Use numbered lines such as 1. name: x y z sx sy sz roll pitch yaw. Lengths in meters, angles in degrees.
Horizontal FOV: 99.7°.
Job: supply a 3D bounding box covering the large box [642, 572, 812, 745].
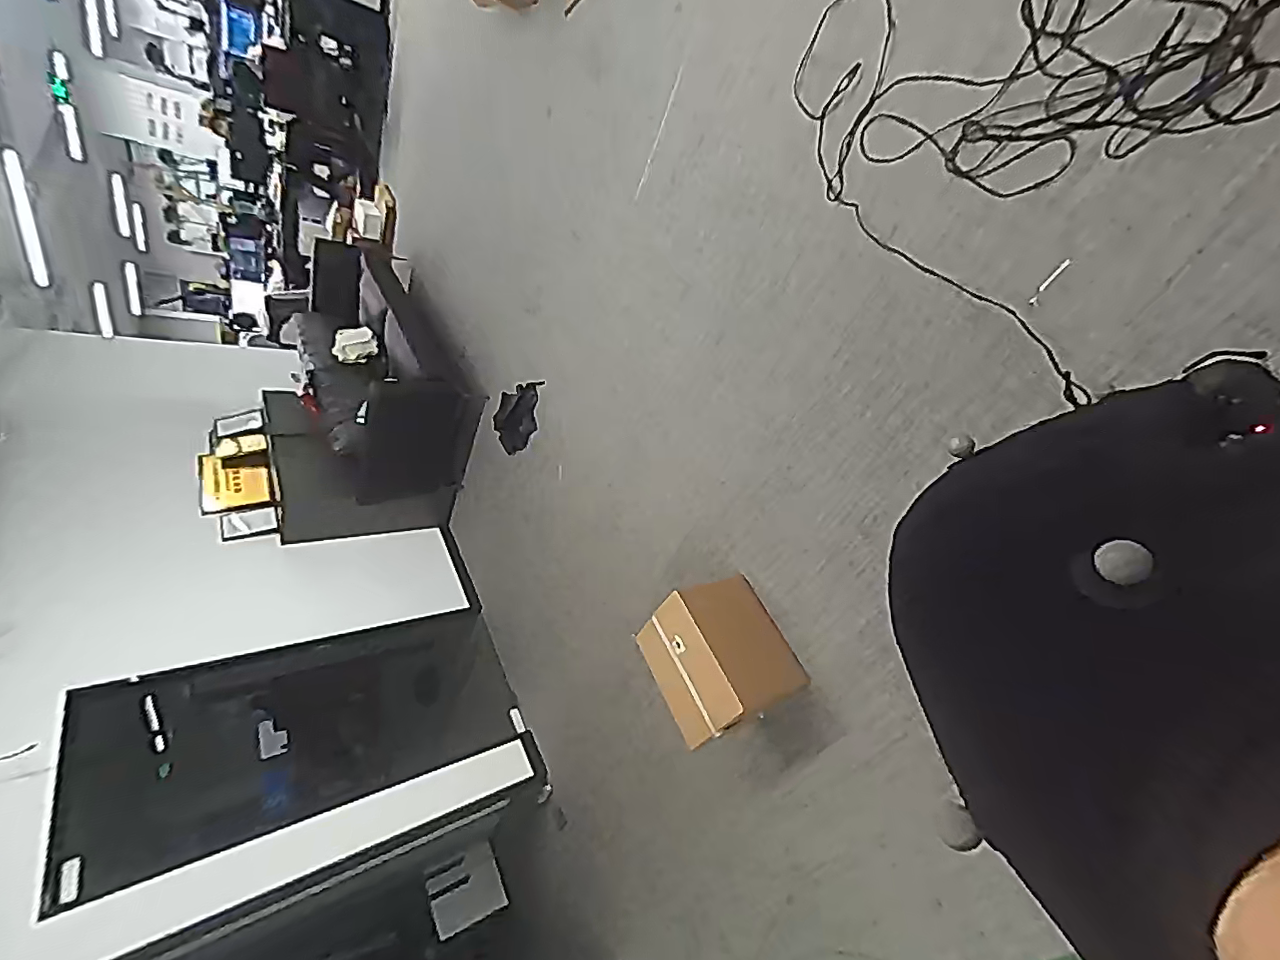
1. large box: 0.273 0.569 1.772 0.408 0.320 0.320 59 135 31
